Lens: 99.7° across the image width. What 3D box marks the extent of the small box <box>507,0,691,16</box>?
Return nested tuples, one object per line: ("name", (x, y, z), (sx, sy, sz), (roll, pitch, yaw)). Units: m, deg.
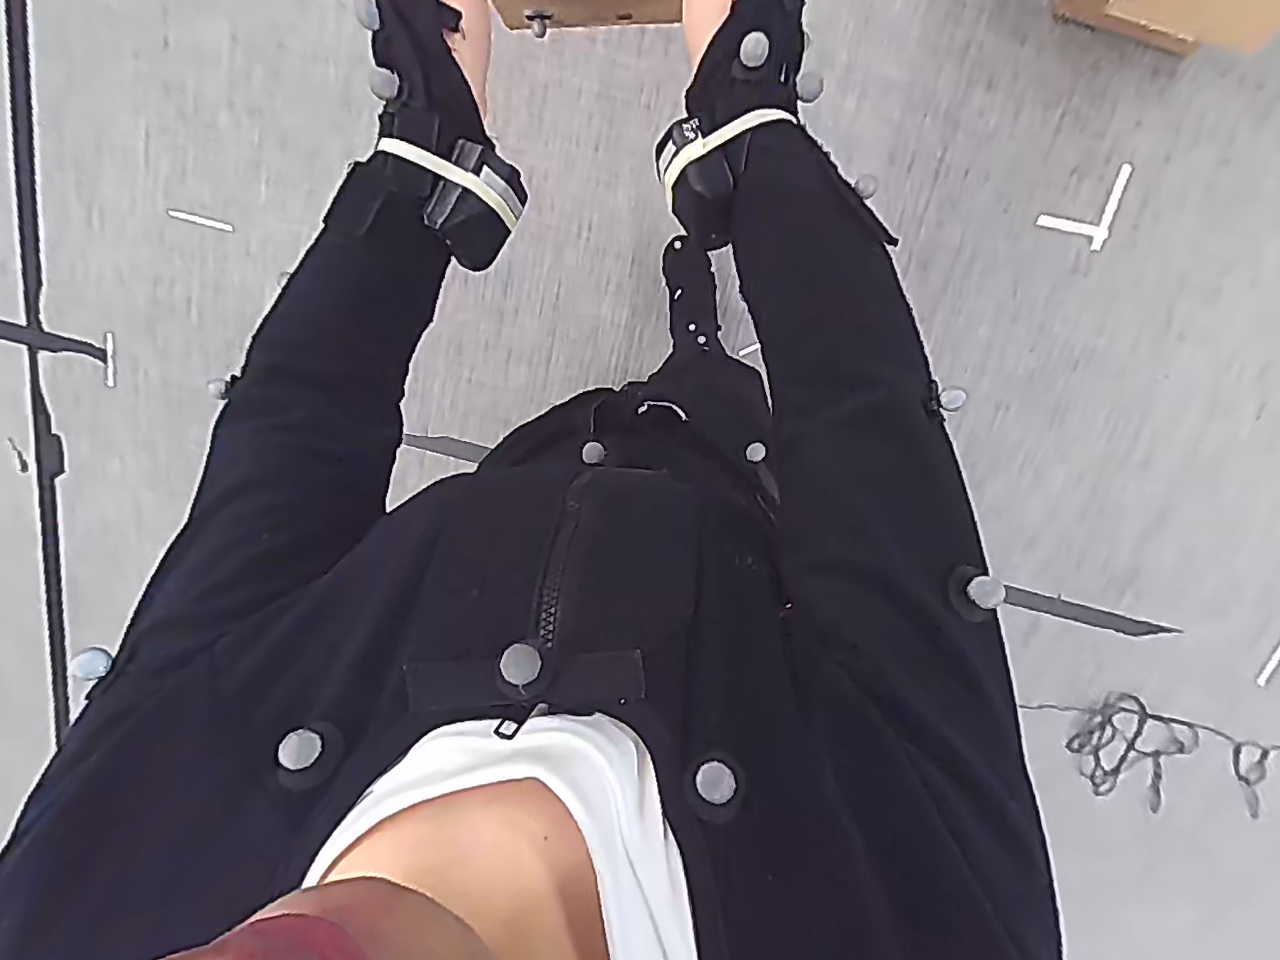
("small box", (-0.038, -0.450, 0.367), (0.168, 0.176, 0.179), (-2, 111, 0))
